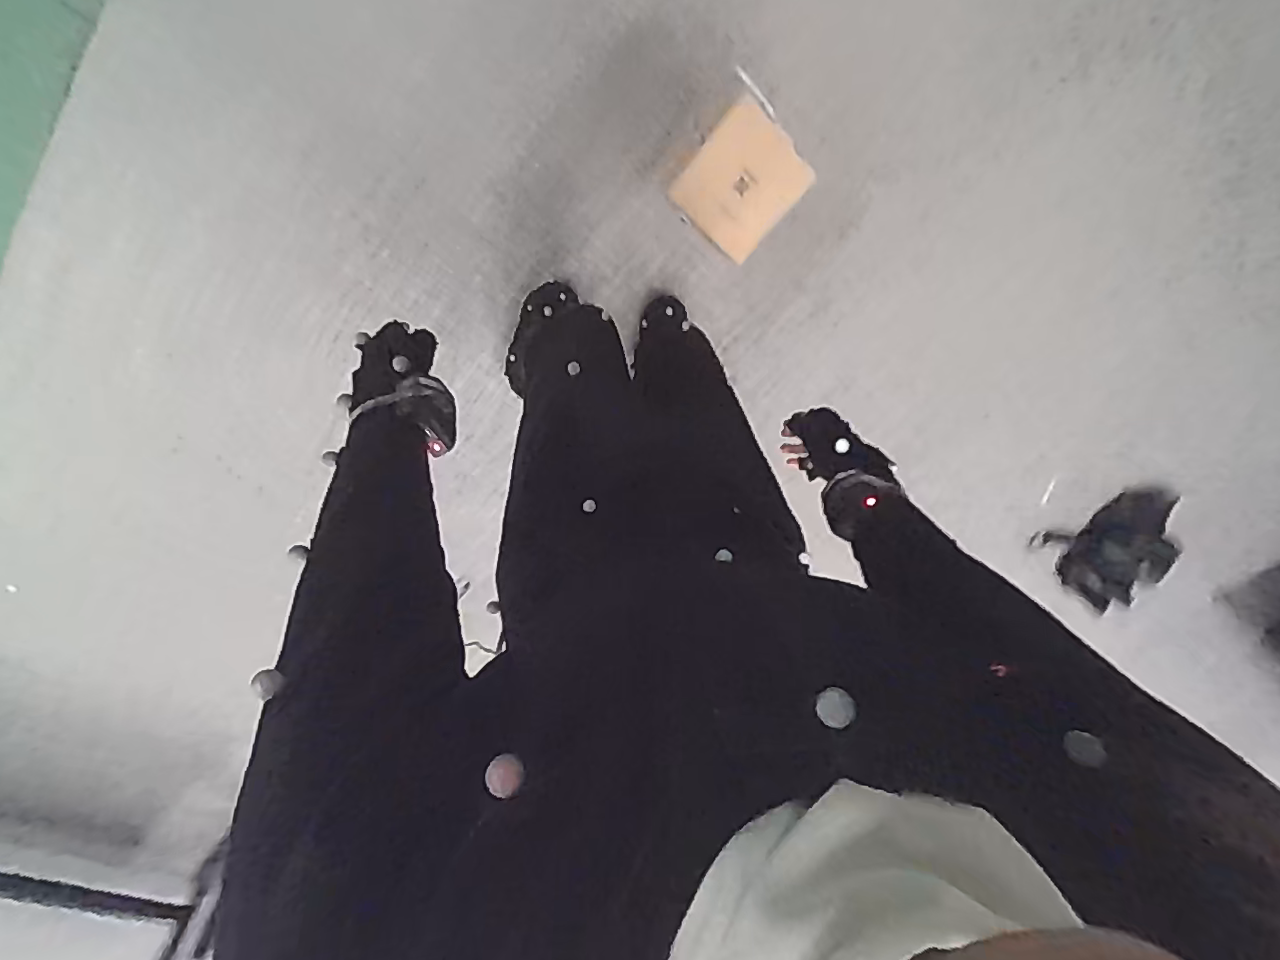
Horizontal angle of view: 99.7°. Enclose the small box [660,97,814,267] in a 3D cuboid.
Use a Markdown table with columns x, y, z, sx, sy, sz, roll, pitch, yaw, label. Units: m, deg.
| x | y | z | sx | sy | sz | roll | pitch | yaw | label |
| --- | --- | --- | --- | --- | --- | --- | --- | --- | --- |
| 0.149 | -0.493 | 0.906 | 0.168 | 0.176 | 0.179 | 36 | 111 | -22 | small box |
